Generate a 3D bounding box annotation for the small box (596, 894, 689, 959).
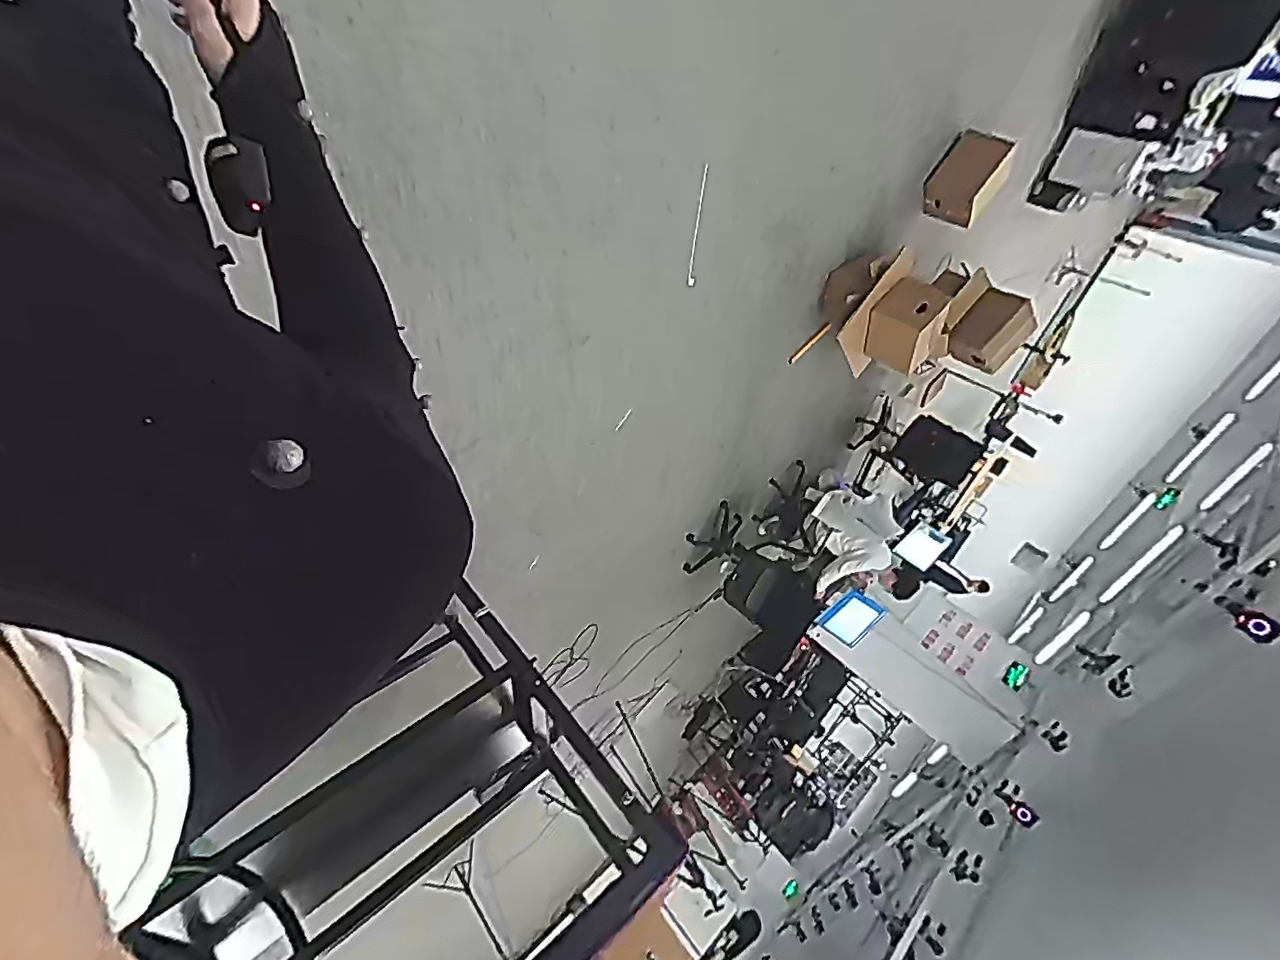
[{"bbox_3d":[-0.001,1.236,1.407,0.179,0.176,0.168,-30,144,-32],"label":"small box"}]
